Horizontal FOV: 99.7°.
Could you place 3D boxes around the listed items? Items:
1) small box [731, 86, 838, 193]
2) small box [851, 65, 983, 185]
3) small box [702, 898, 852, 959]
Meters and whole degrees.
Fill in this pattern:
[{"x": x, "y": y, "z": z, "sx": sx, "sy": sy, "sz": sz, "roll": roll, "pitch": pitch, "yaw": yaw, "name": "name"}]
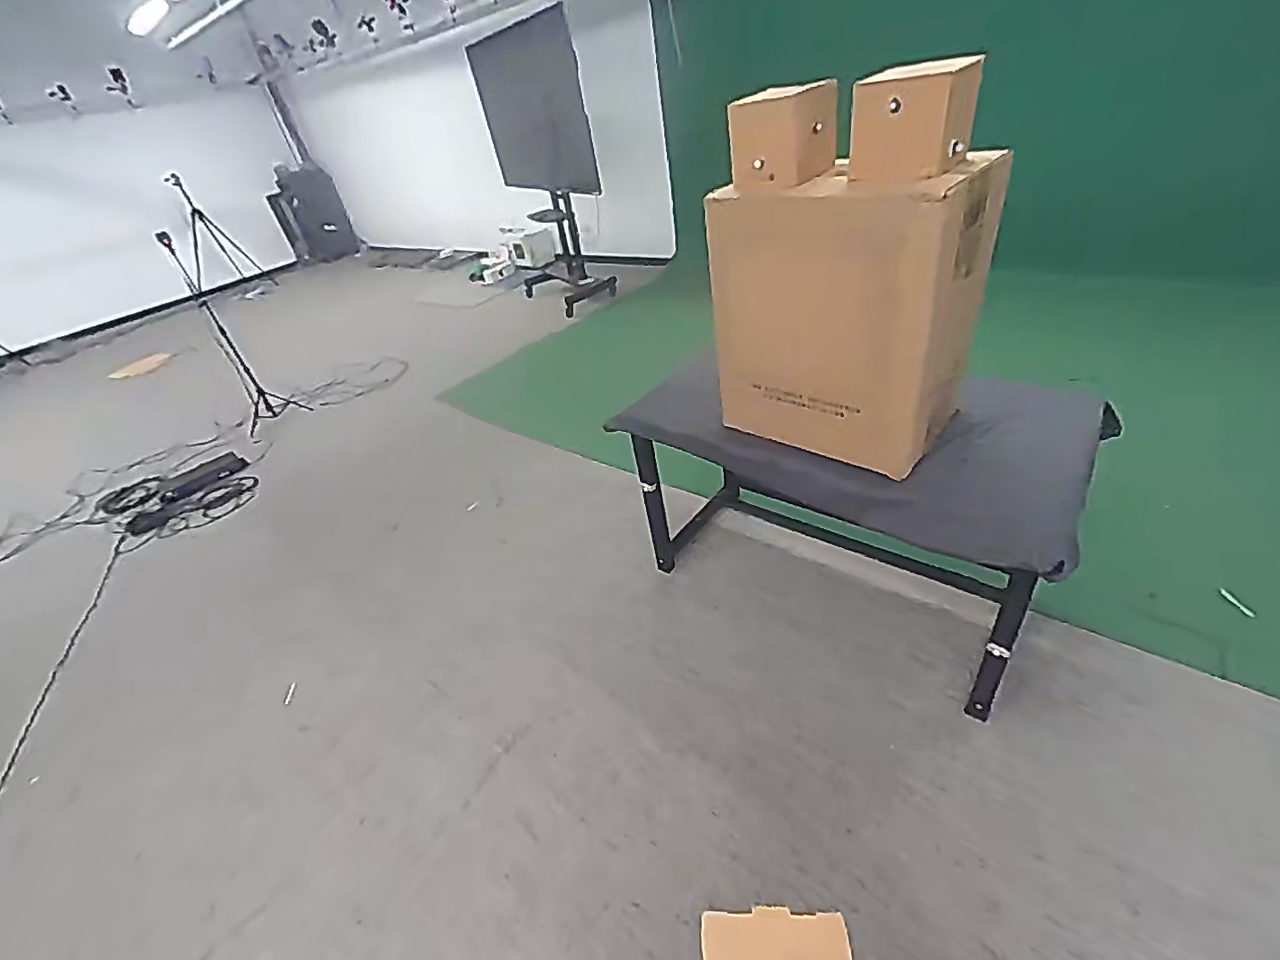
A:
[{"x": 0.323, "y": -0.759, "z": 1.211, "sx": 0.168, "sy": 0.176, "sz": 0.179, "roll": 23, "pitch": 50, "yaw": 39, "name": "small box"}, {"x": 0.534, "y": -0.692, "z": 1.063, "sx": 0.179, "sy": 0.176, "sz": 0.168, "roll": 24, "pitch": 51, "yaw": 36, "name": "small box"}, {"x": 0.157, "y": 0.612, "z": 0.615, "sx": 0.168, "sy": 0.176, "sz": 0.179, "roll": -5, "pitch": 37, "yaw": 8, "name": "small box"}]
